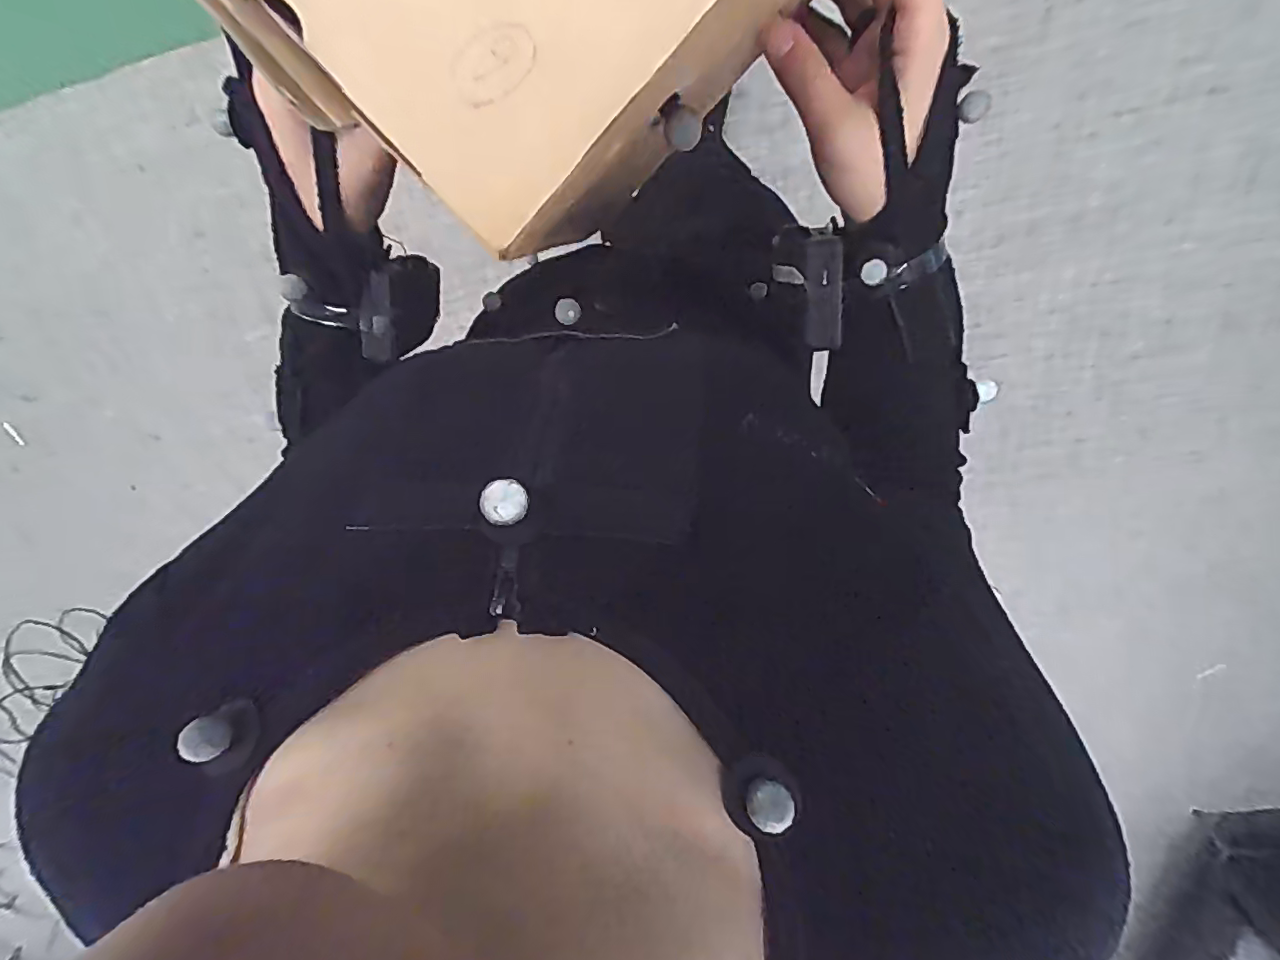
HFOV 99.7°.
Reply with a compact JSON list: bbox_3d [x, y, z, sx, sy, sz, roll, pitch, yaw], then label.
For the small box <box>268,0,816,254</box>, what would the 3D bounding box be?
[{"bbox_3d":[-0.027,-0.216,0.208,0.179,0.176,0.168,-39,107,21],"label":"small box"}]
